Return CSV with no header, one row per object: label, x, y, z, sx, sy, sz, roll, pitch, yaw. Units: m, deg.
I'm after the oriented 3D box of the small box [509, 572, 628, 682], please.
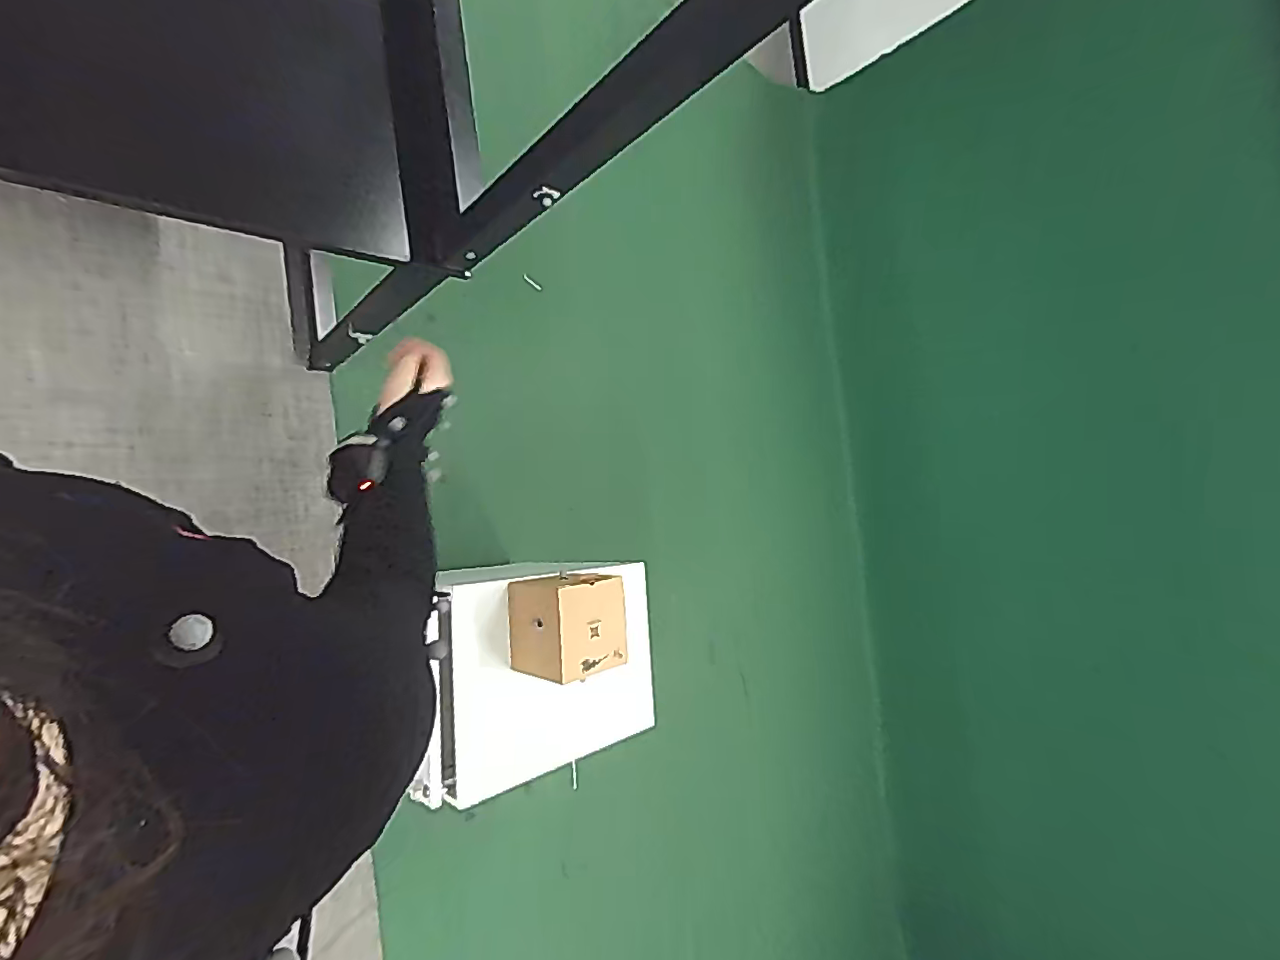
small box,-0.144,0.278,1.064,0.168,0.176,0.179,0,85,-45
